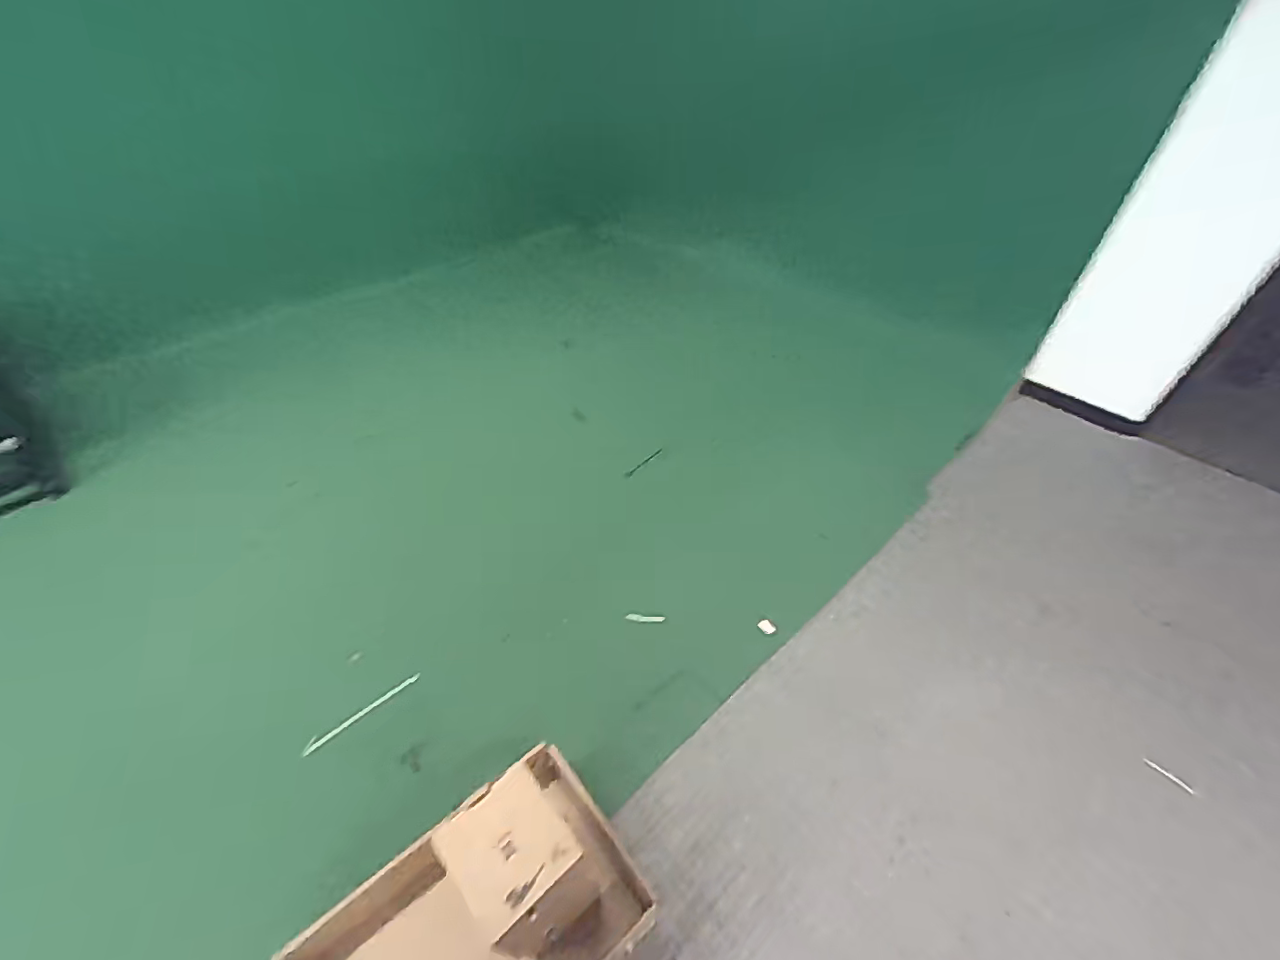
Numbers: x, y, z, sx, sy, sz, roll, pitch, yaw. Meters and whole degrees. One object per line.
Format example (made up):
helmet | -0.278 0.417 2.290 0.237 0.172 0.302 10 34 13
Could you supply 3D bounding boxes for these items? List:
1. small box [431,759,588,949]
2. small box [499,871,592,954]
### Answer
small box | -0.200 0.594 0.859 0.168 0.176 0.179 -33 53 -28
small box | -0.202 0.709 0.977 0.168 0.176 0.179 -30 54 -26
